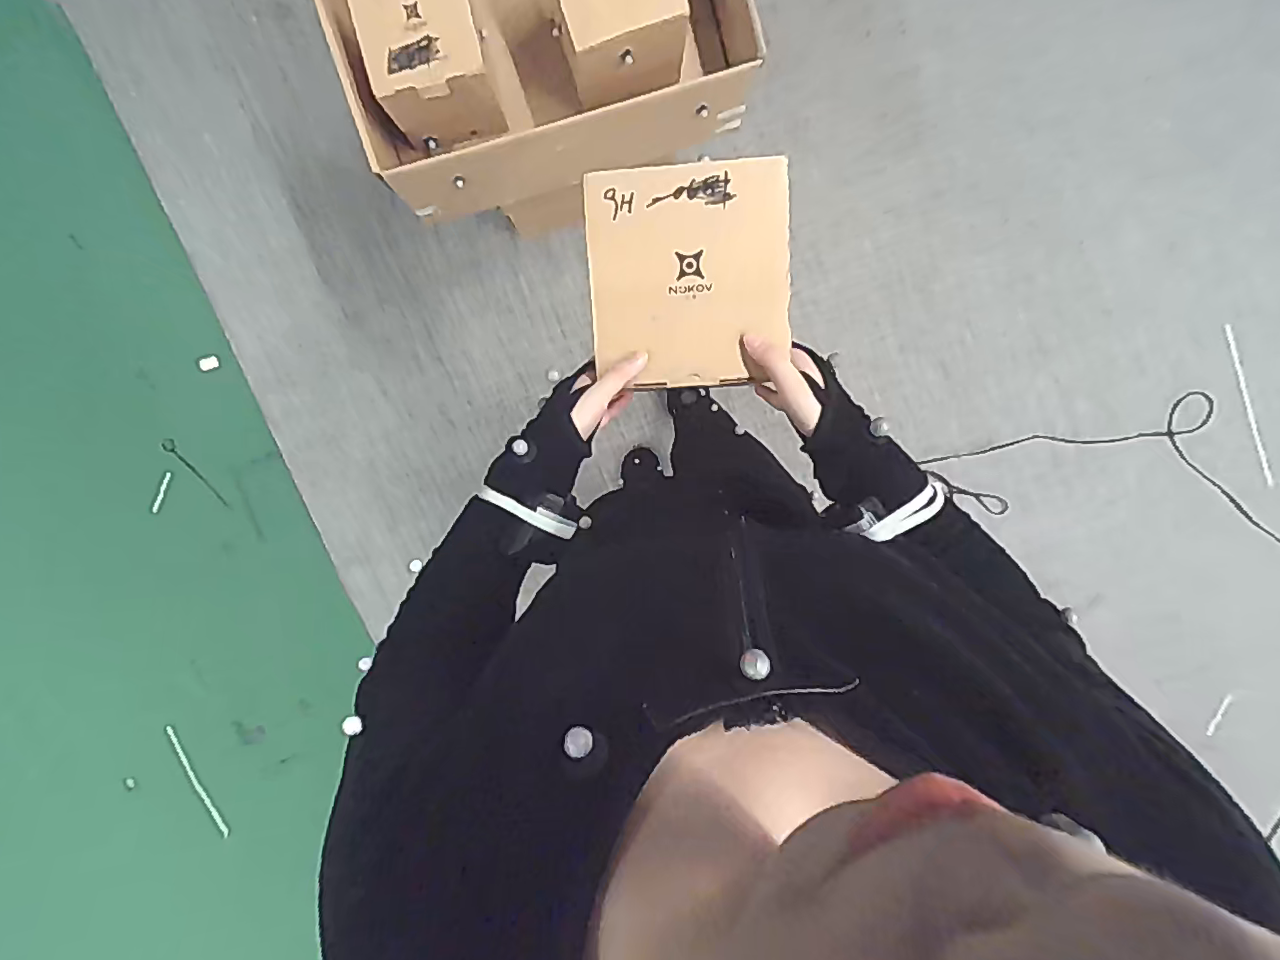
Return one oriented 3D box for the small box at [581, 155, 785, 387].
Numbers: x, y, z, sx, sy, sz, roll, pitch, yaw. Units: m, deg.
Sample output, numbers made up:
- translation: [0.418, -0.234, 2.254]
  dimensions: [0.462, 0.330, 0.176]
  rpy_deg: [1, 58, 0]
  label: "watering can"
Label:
- translation: [0.041, -0.183, 0.525]
  dimensions: [0.168, 0.176, 0.179]
  rpy_deg: [-3, 99, 3]
  label: "small box"
